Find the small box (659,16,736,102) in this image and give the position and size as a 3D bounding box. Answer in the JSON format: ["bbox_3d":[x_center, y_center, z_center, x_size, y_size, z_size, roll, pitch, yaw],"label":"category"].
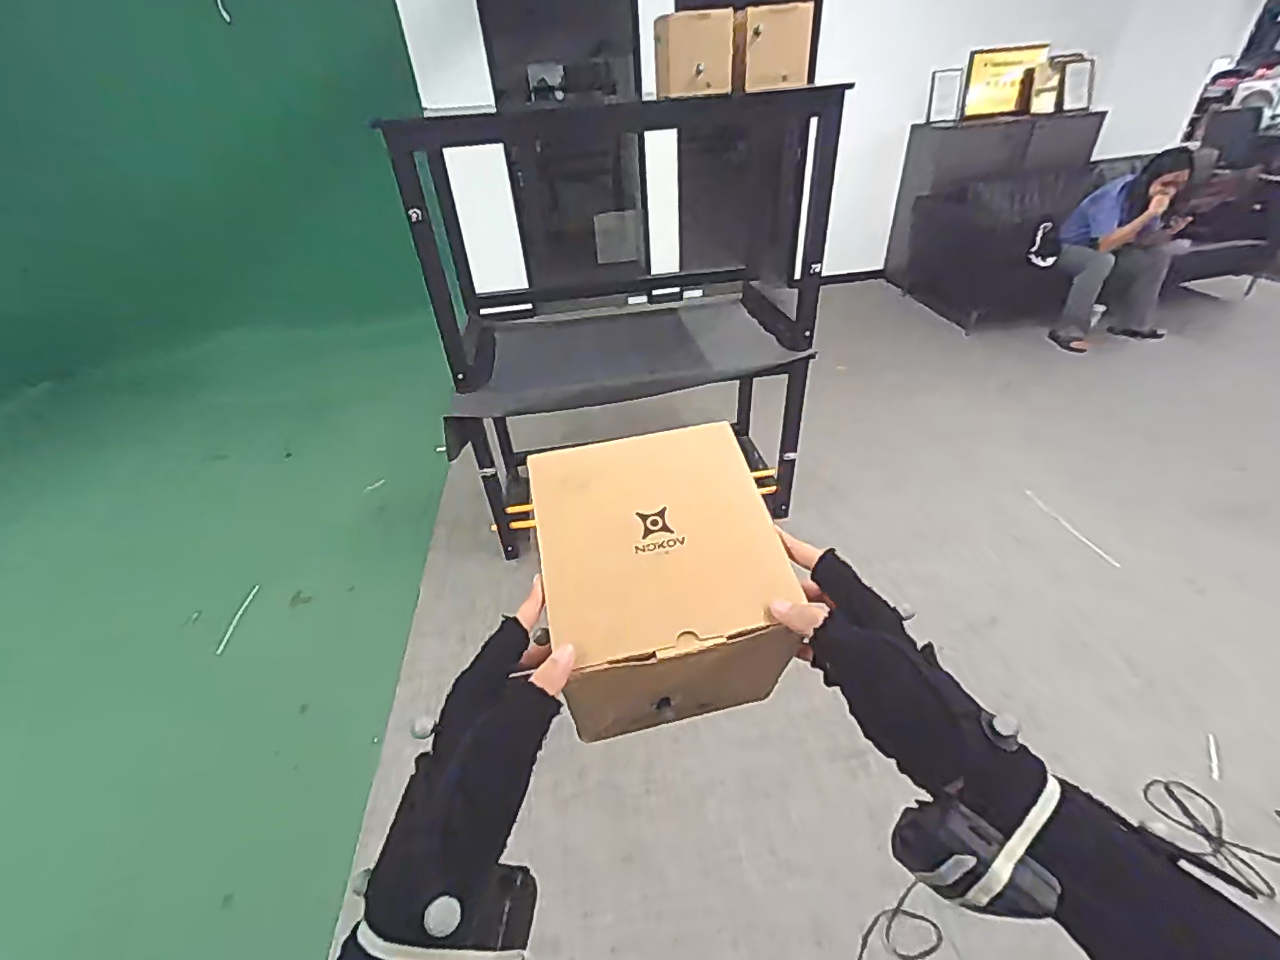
[{"bbox_3d":[0.145,-1.100,1.422,0.168,0.176,0.179,-9,36,-6],"label":"small box"}]
